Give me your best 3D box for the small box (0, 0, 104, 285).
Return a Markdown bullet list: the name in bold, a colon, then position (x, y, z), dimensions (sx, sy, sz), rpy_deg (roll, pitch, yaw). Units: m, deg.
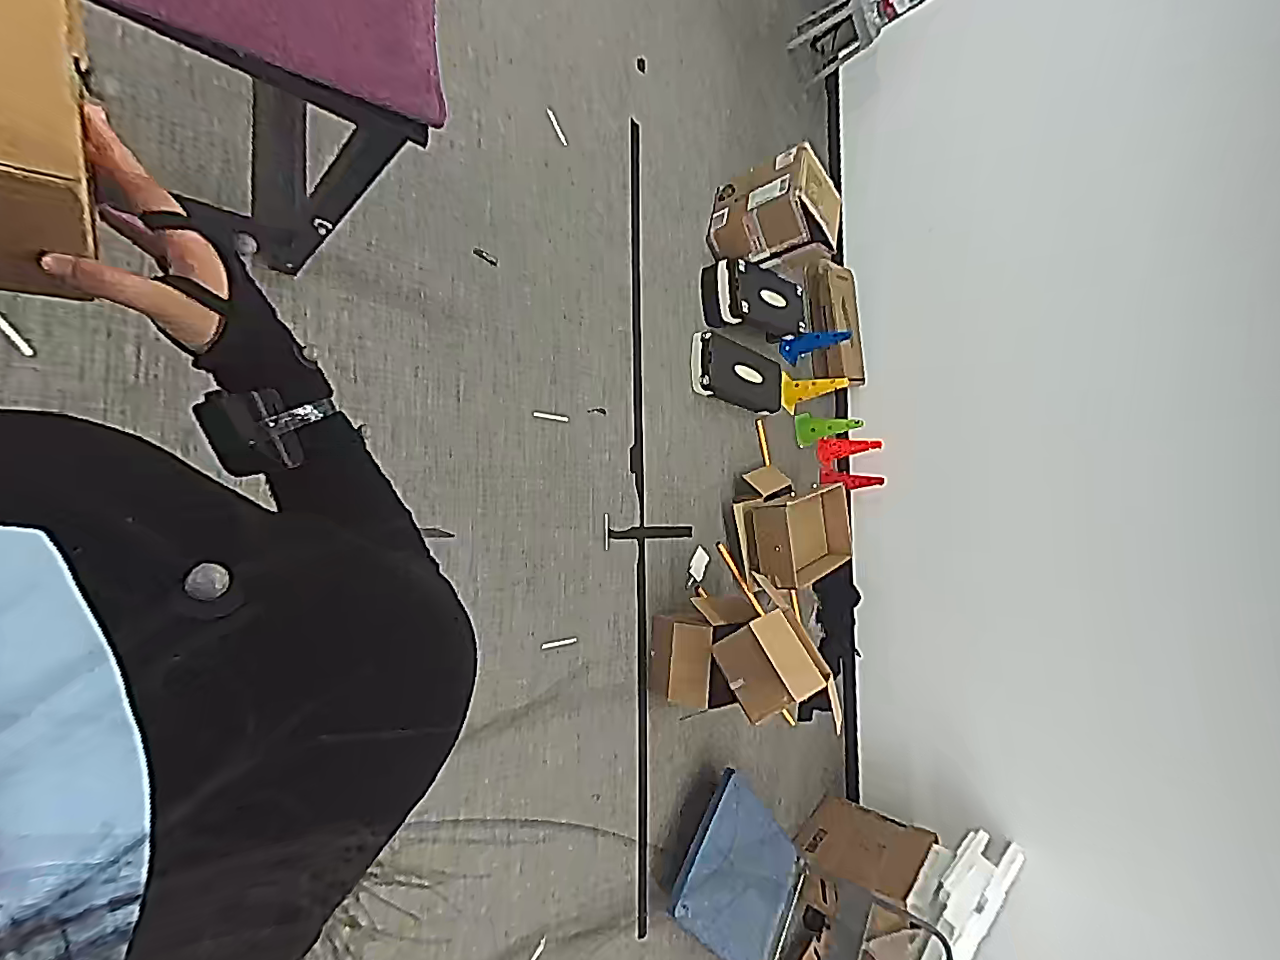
- **small box**: position (-0.386, -0.222, 0.266), dimensions (0.168, 0.176, 0.179), rpy_deg (-5, 88, -44)
